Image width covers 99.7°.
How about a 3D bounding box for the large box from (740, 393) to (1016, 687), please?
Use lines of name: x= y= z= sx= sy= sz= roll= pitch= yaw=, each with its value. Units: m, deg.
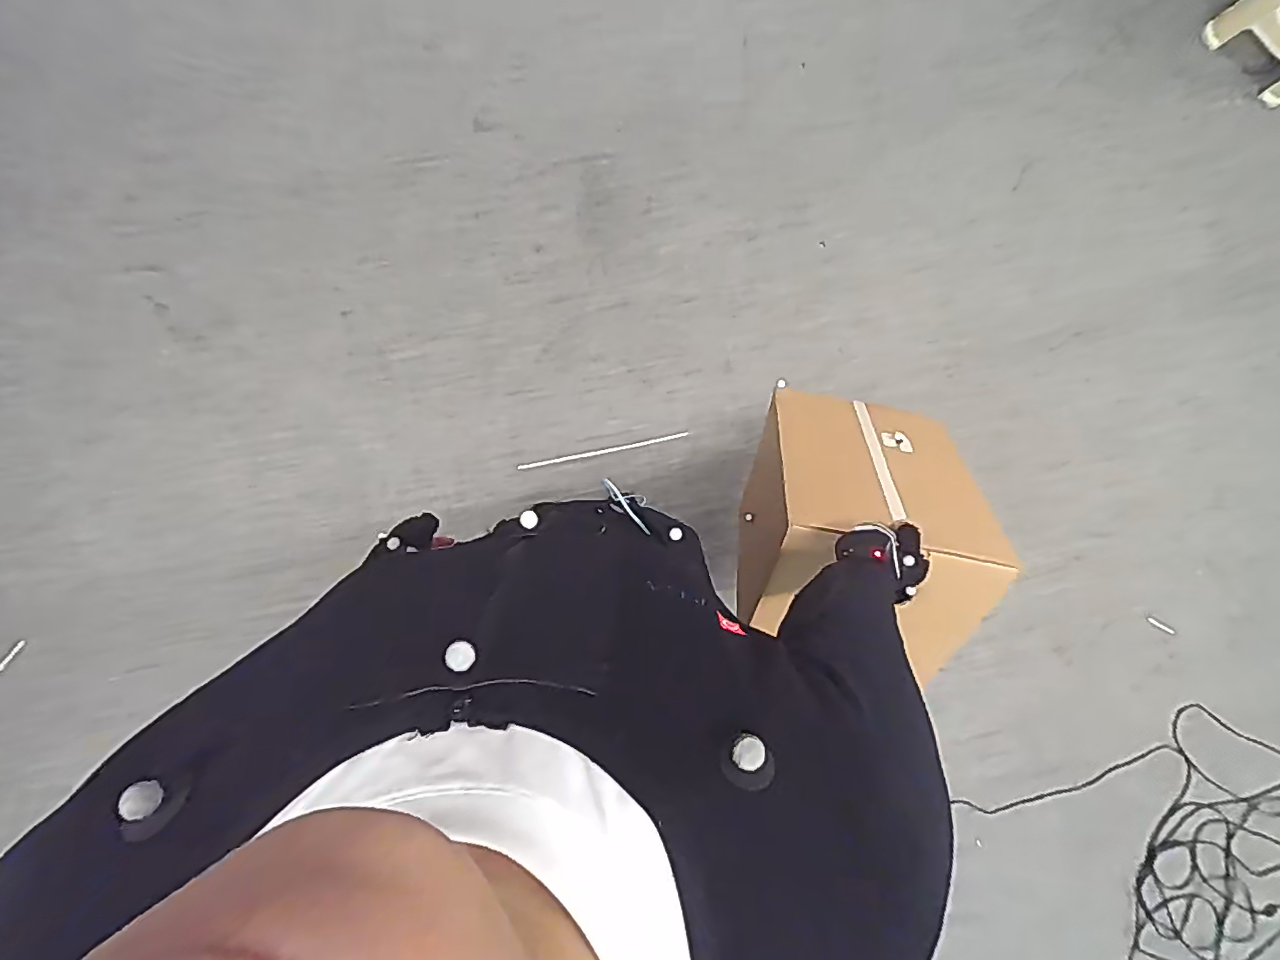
large box: x=0.364 y=0.093 z=0.971 sx=0.320 sy=0.408 sz=0.320 roll=11 pitch=127 yaw=2
